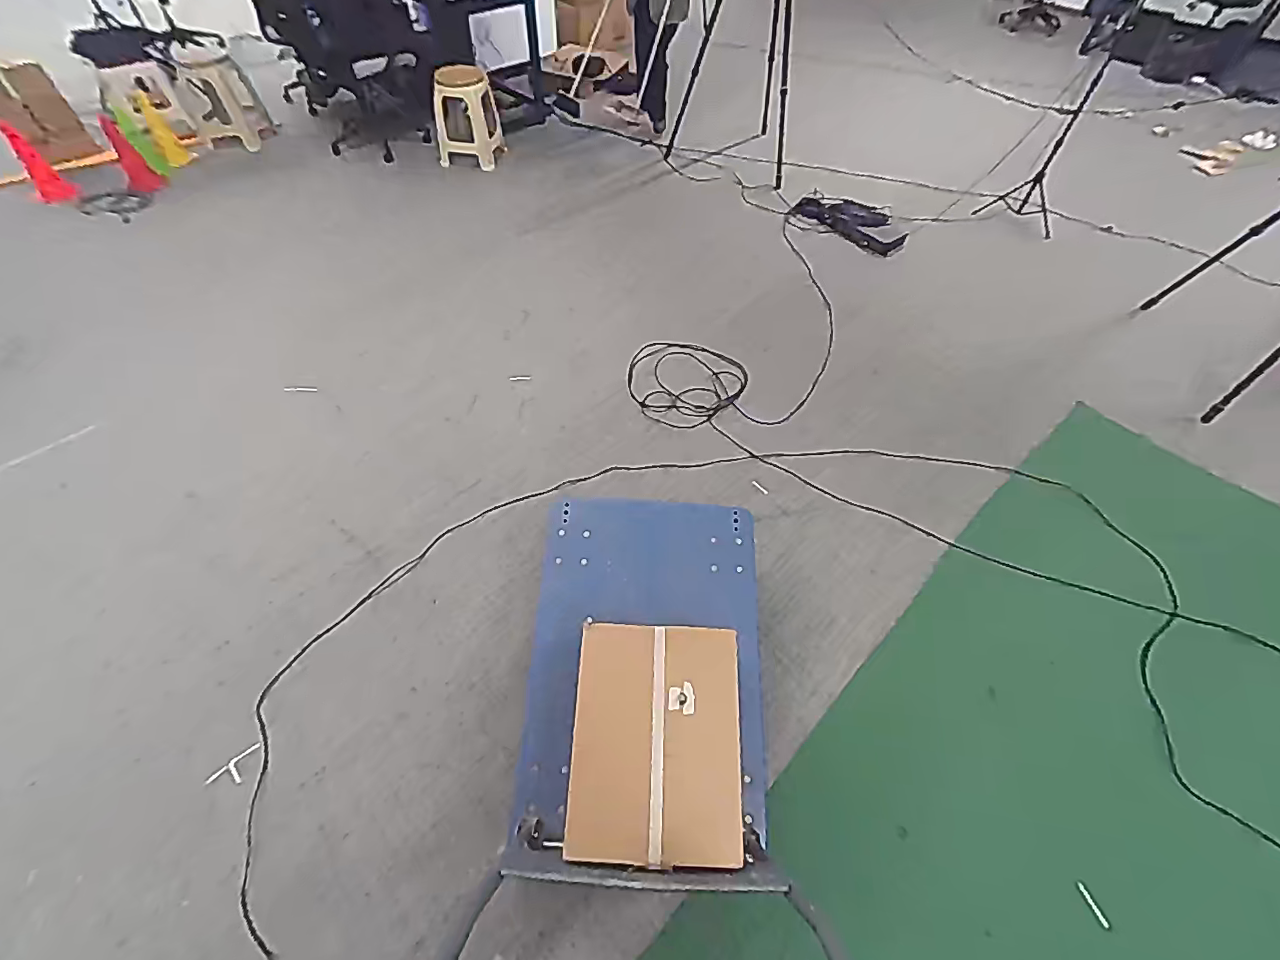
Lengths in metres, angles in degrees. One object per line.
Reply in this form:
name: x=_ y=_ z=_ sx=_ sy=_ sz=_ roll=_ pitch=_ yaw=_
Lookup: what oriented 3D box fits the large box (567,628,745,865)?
large box: x=0.029 y=0.551 z=1.147 sx=0.320 sy=0.320 sz=0.408 roll=2 pitch=63 yaw=-1
